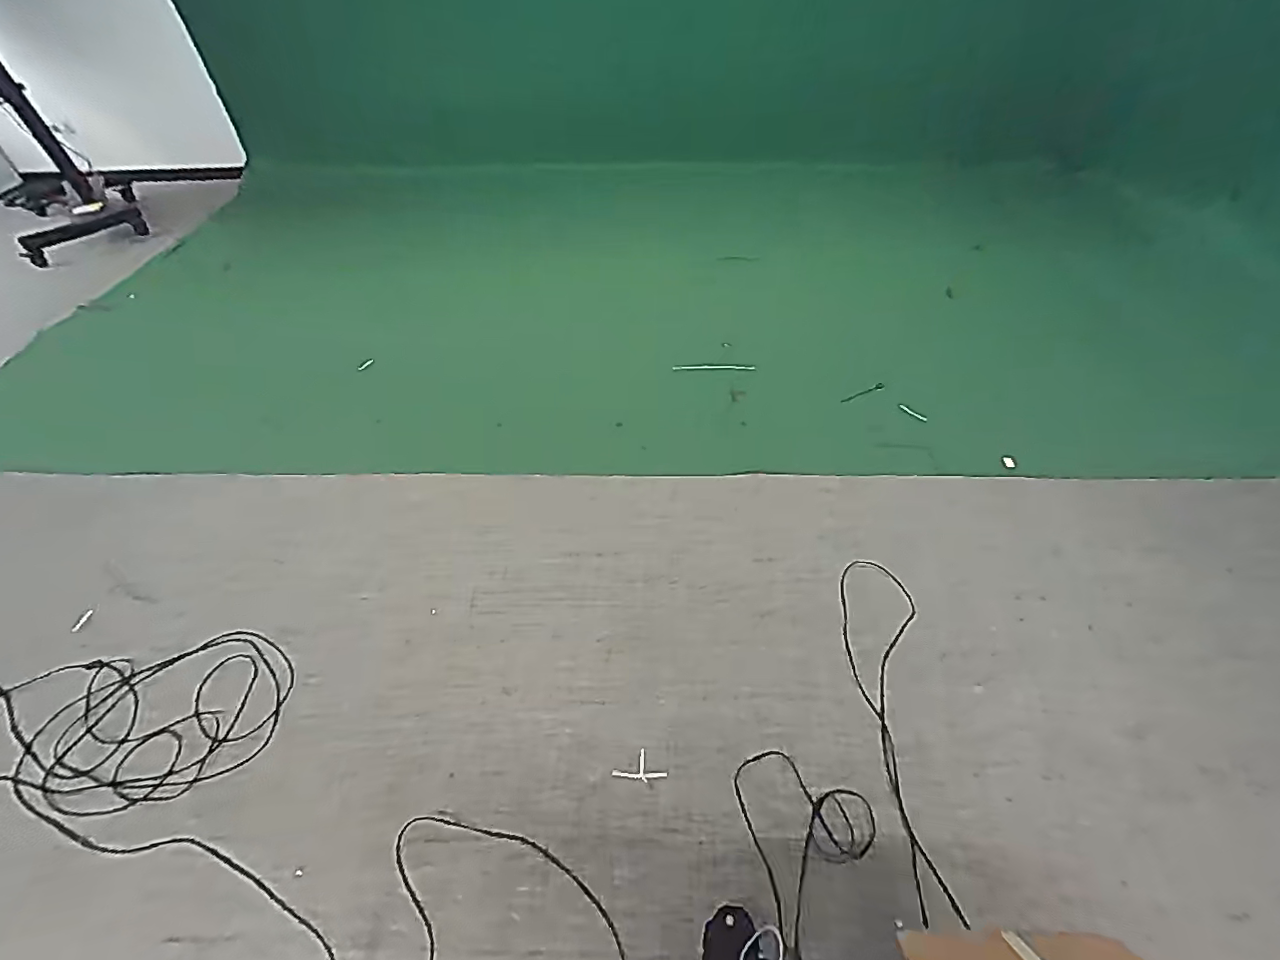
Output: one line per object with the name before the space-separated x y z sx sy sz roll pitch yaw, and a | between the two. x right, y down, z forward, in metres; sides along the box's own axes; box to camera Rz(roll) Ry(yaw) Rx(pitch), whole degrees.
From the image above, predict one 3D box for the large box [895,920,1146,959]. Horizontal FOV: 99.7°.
large box | 0.522 0.771 0.577 0.320 0.408 0.320 -1 79 4
